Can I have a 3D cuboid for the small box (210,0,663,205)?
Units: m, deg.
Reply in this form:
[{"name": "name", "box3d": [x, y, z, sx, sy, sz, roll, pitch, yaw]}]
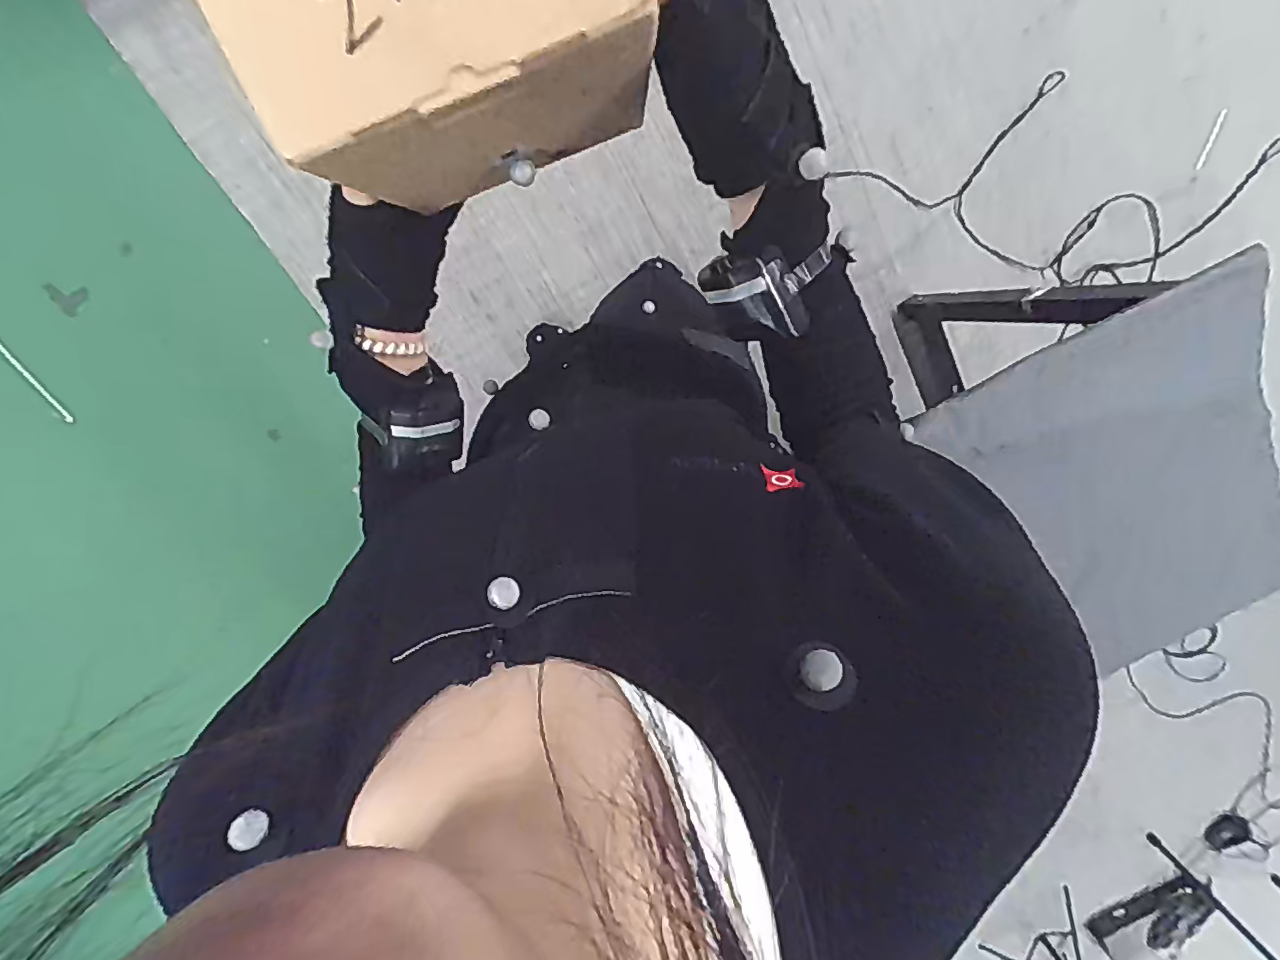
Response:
[{"name": "small box", "box3d": [-0.096, -0.262, 0.262, 0.168, 0.176, 0.179, -18, 108, 6]}]
